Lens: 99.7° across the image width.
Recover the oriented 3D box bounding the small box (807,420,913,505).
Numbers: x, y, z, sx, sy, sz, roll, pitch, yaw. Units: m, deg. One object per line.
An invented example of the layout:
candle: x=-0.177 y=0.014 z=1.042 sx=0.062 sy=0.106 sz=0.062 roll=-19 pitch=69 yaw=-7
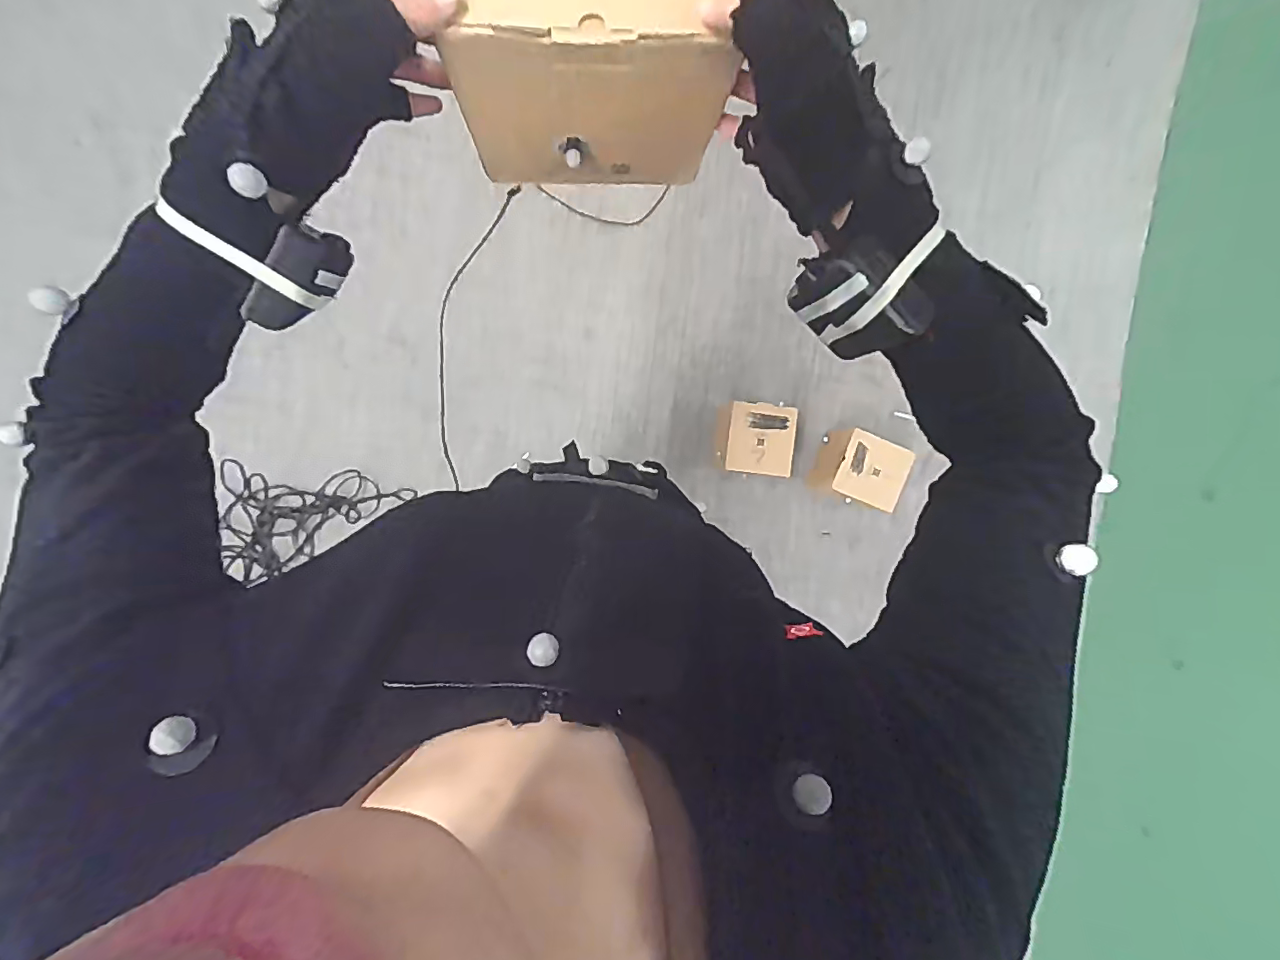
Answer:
small box: x=0.571 y=-0.046 z=1.428 sx=0.179 sy=0.176 sz=0.168 roll=22 pitch=92 yaw=-4
